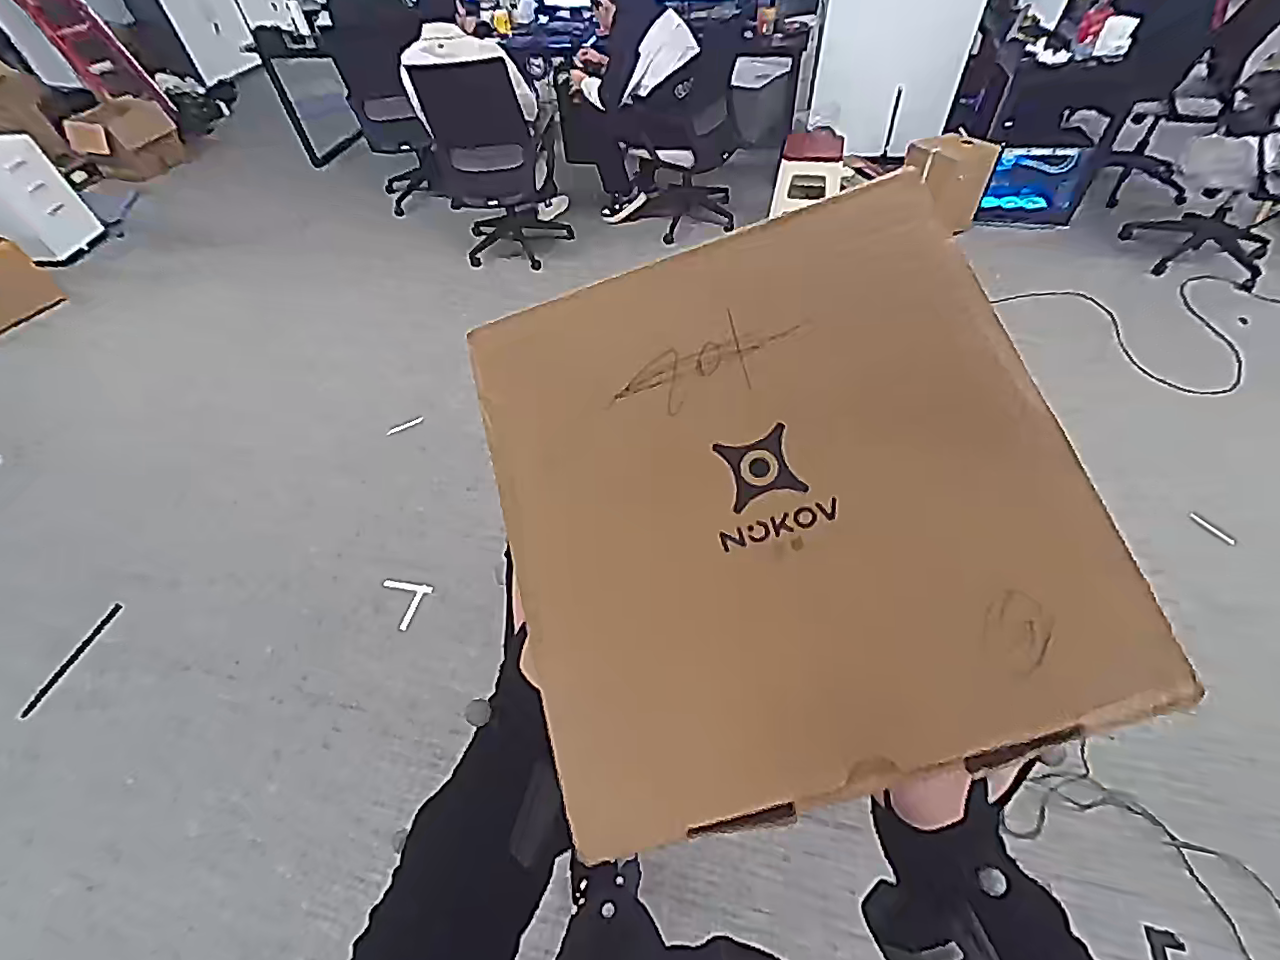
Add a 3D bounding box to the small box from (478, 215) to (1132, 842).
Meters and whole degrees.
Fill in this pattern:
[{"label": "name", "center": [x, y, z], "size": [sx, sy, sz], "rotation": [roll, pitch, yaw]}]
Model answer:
[{"label": "small box", "center": [0.050, 0.026, 0.255], "size": [0.168, 0.176, 0.179], "rotation": [-19, 71, 4]}]
